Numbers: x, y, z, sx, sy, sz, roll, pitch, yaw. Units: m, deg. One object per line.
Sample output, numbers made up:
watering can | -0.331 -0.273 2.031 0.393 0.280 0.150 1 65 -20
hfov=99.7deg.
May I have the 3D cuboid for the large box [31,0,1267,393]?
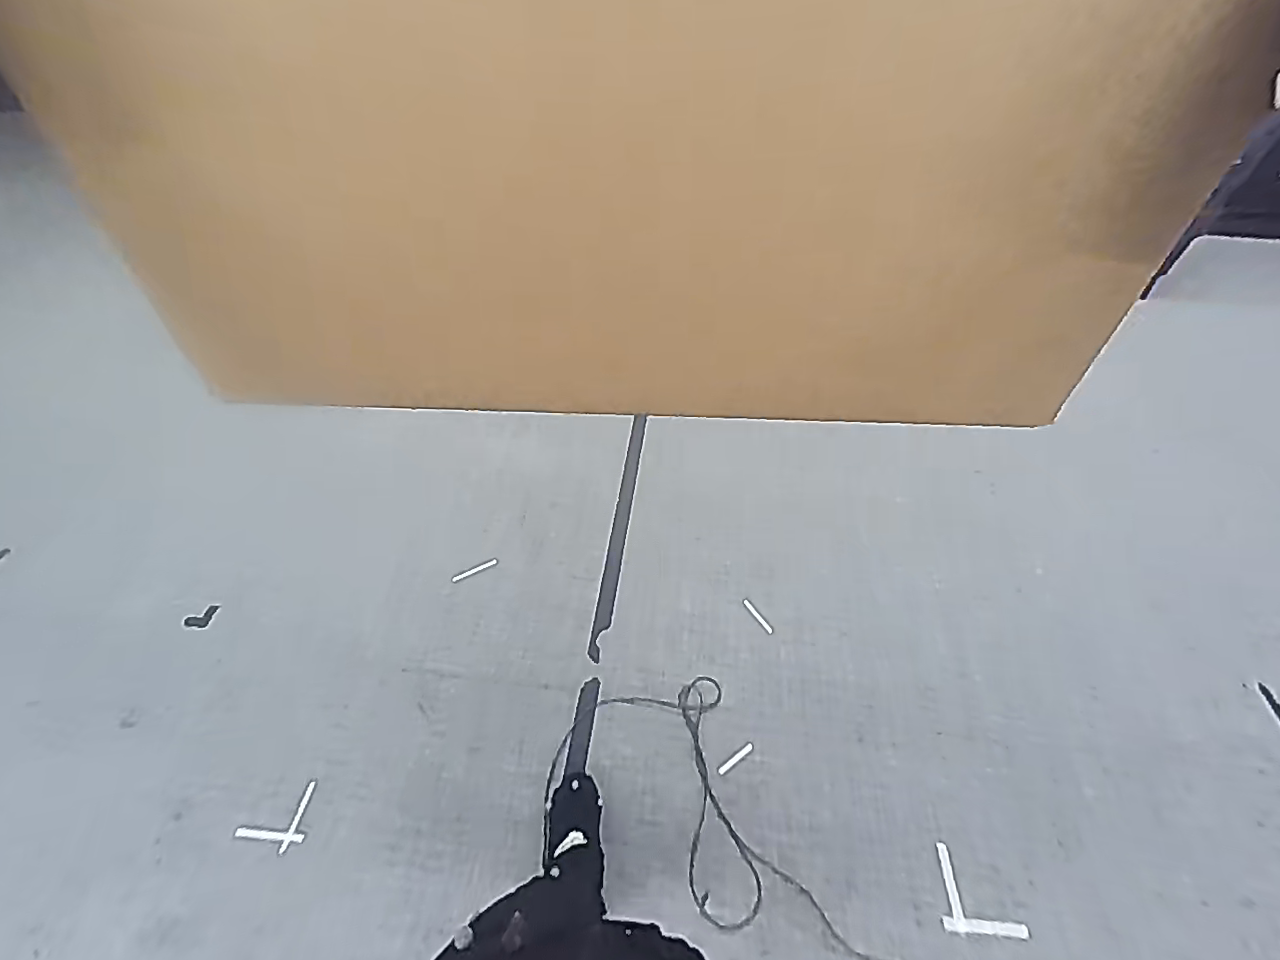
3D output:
large box | 0.003 -0.257 0.274 0.408 0.320 0.320 2 45 -1
